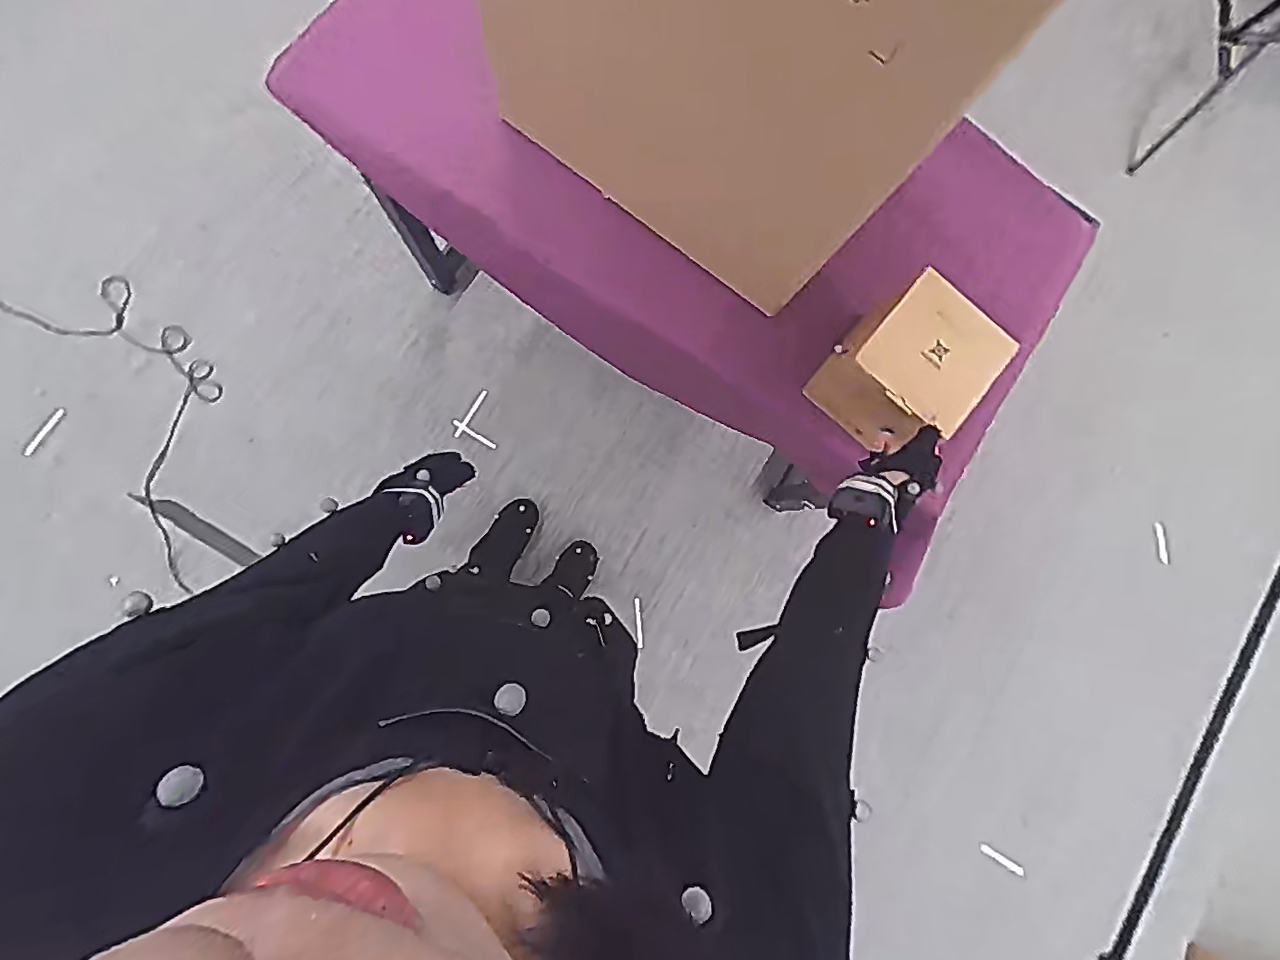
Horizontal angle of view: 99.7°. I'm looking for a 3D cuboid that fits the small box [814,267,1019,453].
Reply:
[{"bbox_3d":[0.381,-0.159,0.785,0.168,0.176,0.179,41,81,-2],"label":"small box"}]
